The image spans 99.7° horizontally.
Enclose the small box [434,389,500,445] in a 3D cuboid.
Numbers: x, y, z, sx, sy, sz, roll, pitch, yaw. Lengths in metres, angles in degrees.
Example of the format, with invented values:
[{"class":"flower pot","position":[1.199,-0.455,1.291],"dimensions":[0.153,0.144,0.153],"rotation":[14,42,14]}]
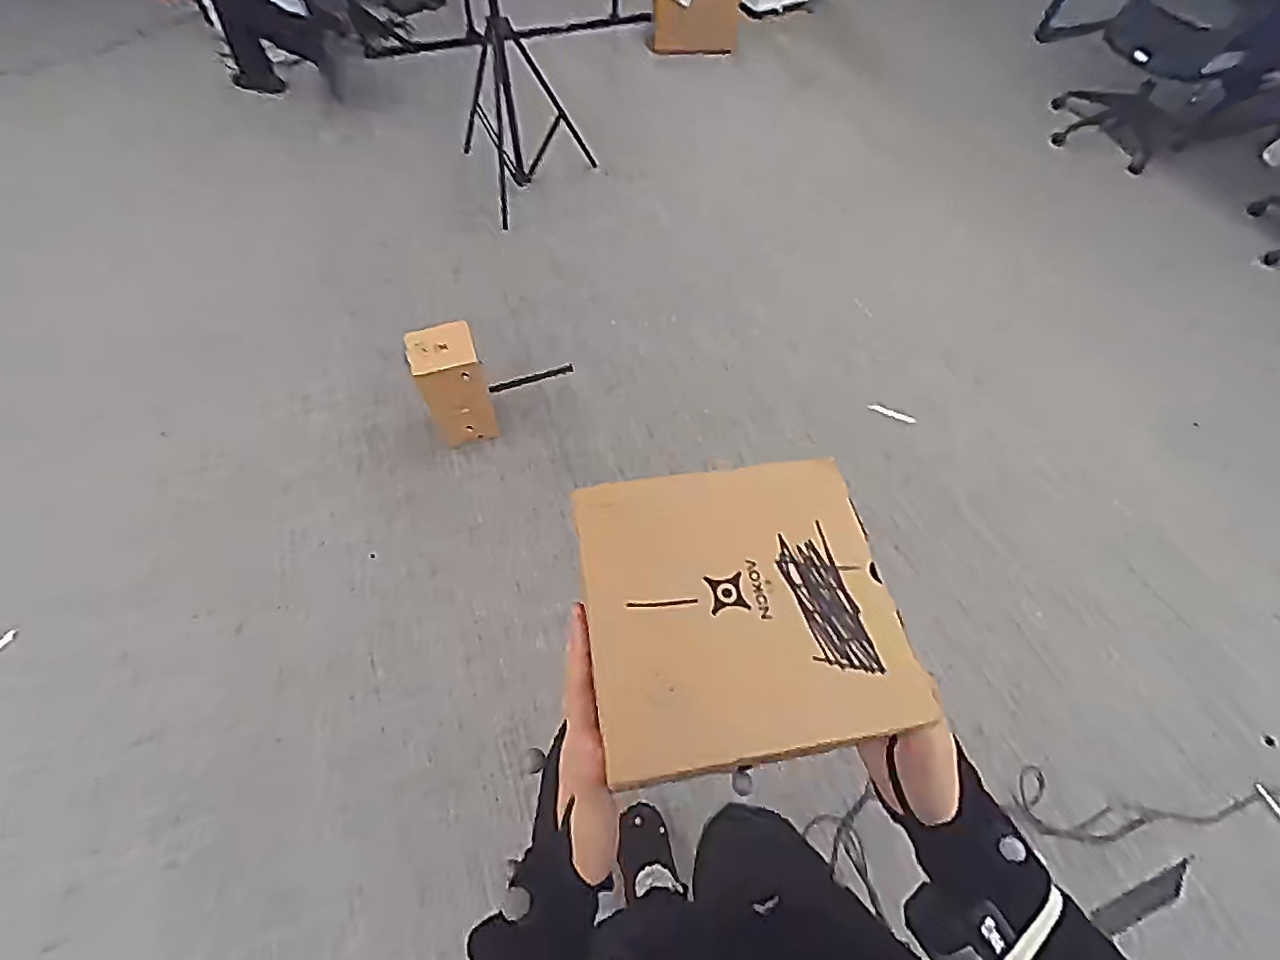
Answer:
[{"class":"small box","position":[-0.546,-0.228,1.683],"dimensions":[0.168,0.176,0.179],"rotation":[-17,63,-11]}]

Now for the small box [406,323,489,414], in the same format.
[{"class":"small box","position":[-0.540,-0.314,1.540],"dimensions":[0.179,0.176,0.168],"rotation":[-17,61,-11]}]

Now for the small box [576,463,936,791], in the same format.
[{"class":"small box","position":[0.052,0.108,0.374],"dimensions":[0.179,0.176,0.168],"rotation":[-7,59,-7]}]
